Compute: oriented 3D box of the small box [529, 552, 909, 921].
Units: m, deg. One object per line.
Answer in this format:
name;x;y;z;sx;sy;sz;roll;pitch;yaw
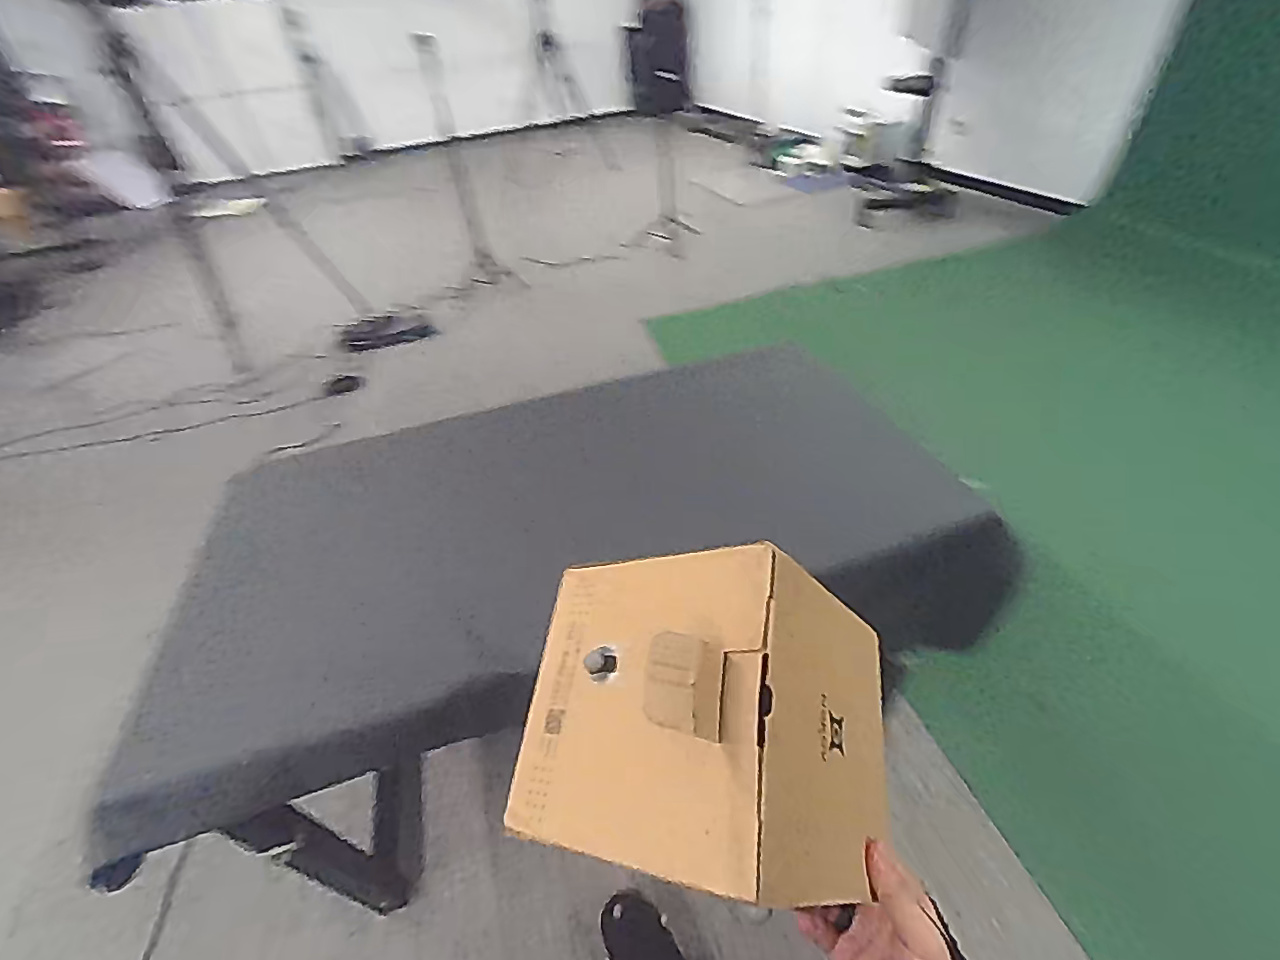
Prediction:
small box;0.061;0.160;0.355;0.176;0.179;0.168;-13;53;37
